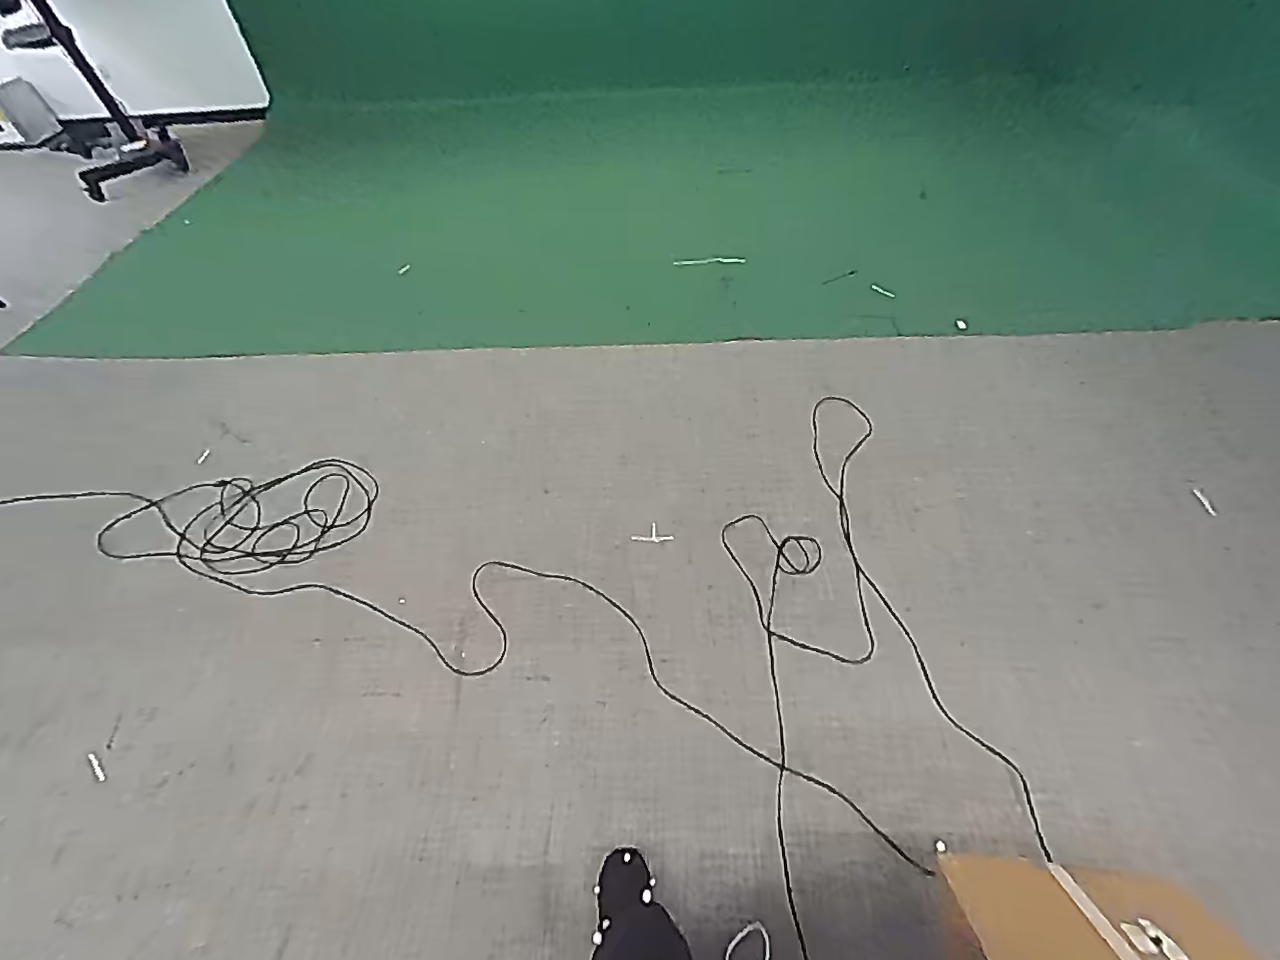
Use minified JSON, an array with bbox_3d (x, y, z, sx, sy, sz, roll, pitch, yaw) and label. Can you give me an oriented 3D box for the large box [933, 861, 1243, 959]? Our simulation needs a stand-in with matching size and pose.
[{"bbox_3d":[0.562,0.723,0.598,0.320,0.408,0.320,0,88,12],"label":"large box"}]
